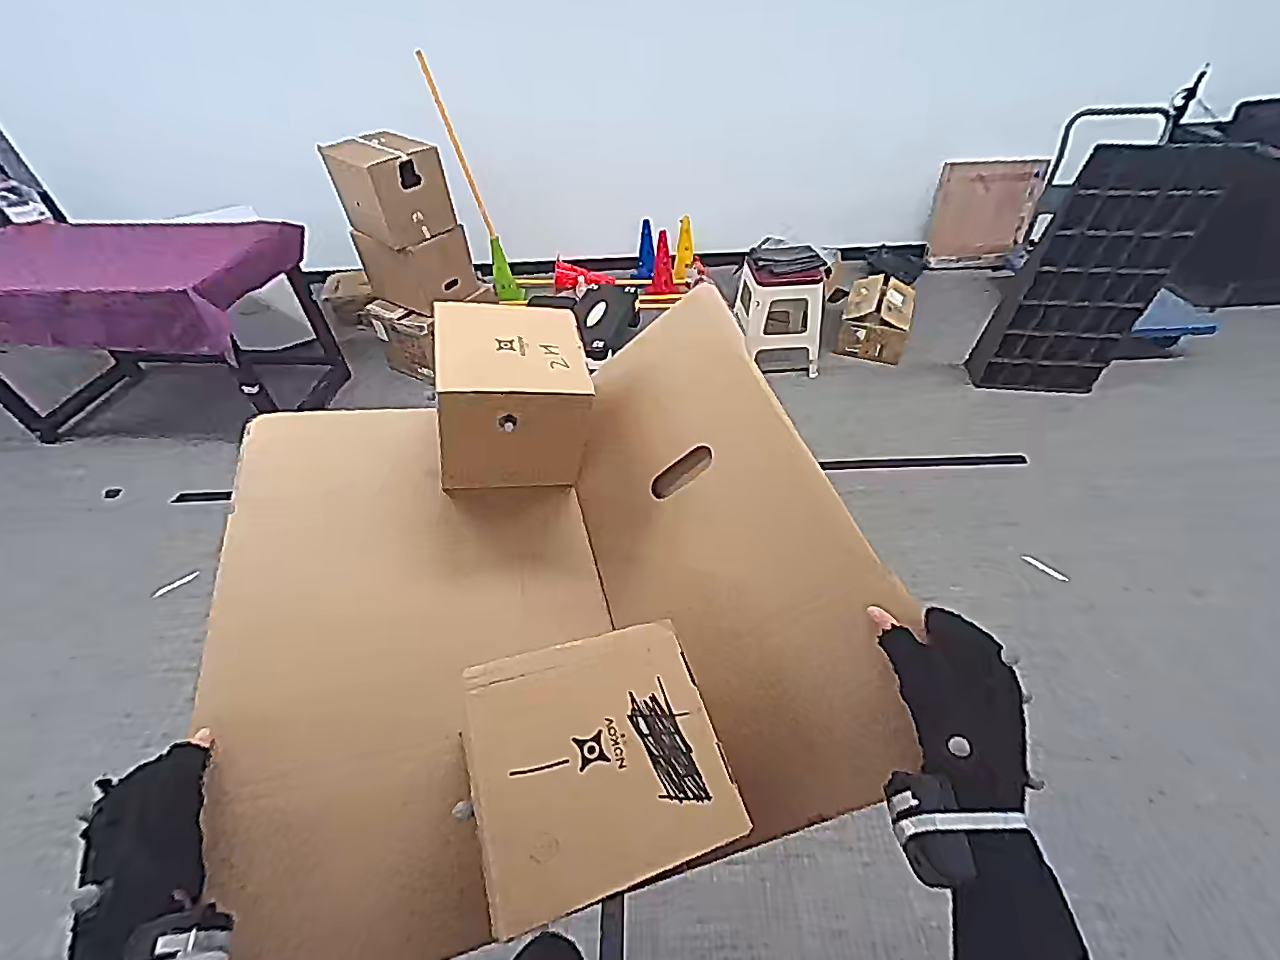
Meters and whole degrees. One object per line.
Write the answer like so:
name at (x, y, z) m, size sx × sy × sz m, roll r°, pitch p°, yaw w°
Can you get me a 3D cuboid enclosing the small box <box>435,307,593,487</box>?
small box at (-0.171, -0.102, 0.709) m, size 0.179 × 0.176 × 0.168 m, roll -1°, pitch 51°, yaw -19°
